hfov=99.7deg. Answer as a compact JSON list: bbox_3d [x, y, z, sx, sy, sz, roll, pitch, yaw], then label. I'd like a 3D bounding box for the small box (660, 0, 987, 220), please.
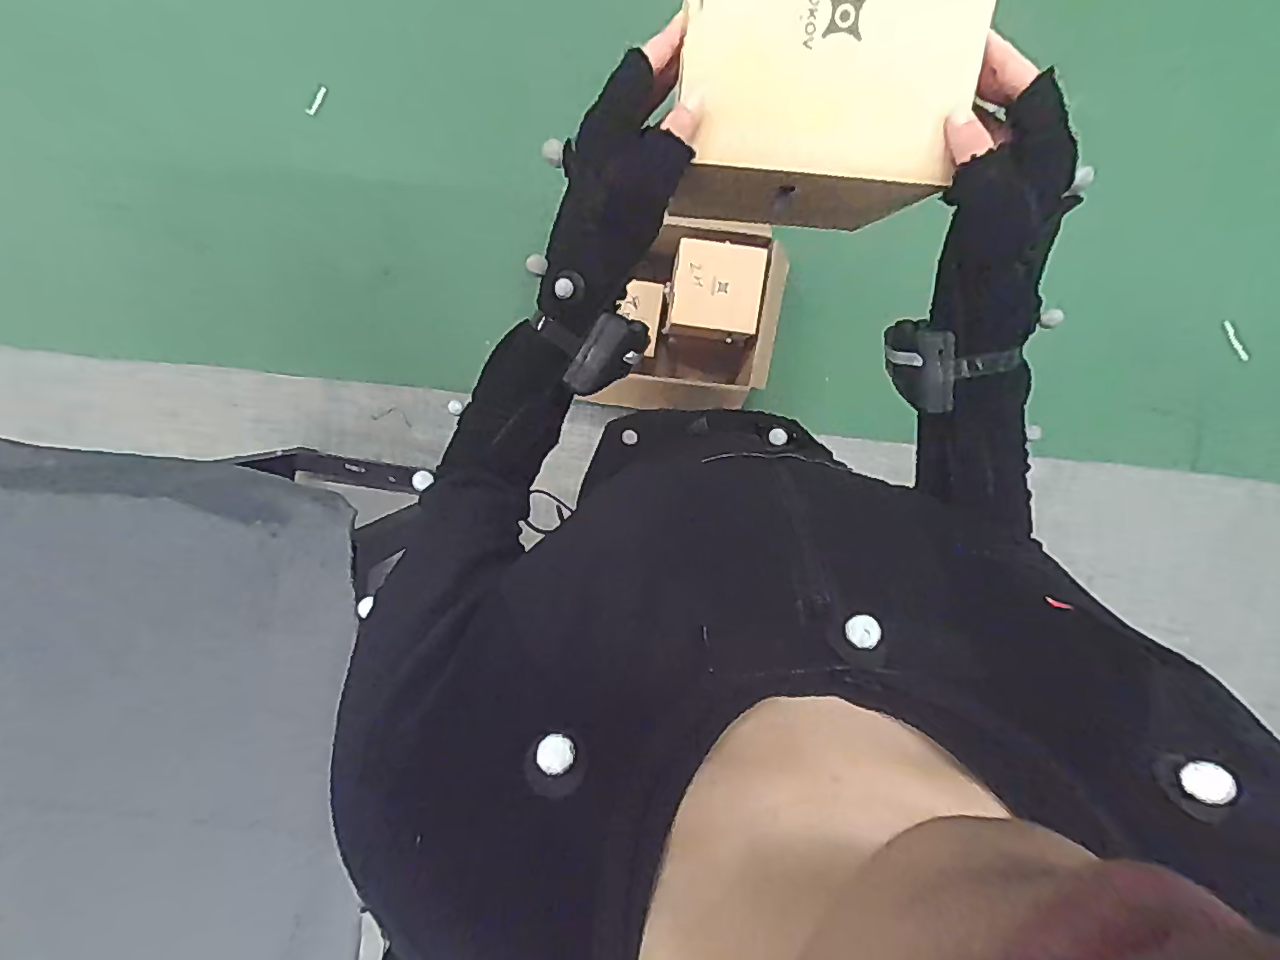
[{"bbox_3d":[0.109,-0.288,0.379,0.179,0.176,0.168,5,107,2],"label":"small box"}]
